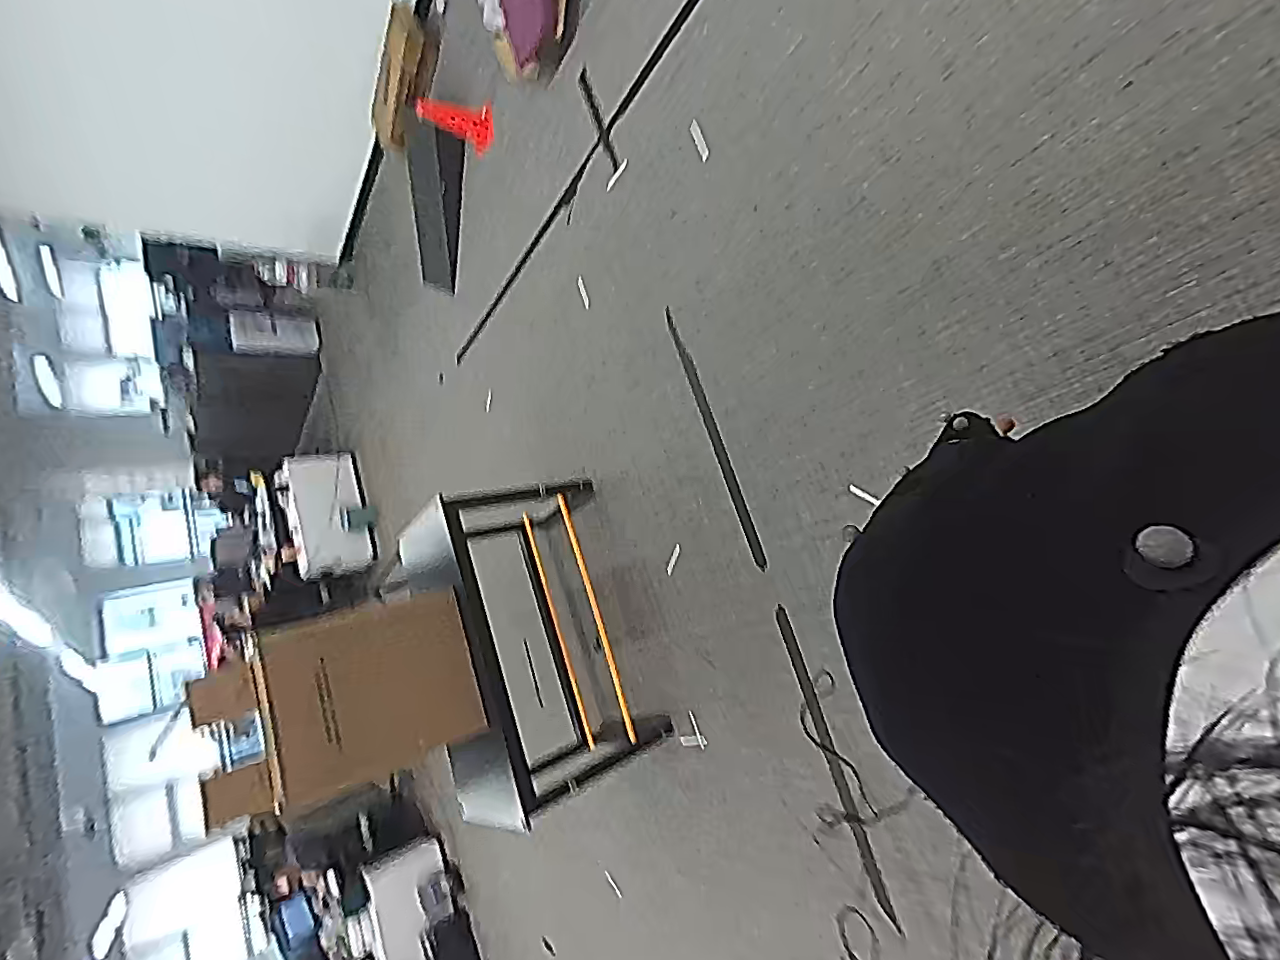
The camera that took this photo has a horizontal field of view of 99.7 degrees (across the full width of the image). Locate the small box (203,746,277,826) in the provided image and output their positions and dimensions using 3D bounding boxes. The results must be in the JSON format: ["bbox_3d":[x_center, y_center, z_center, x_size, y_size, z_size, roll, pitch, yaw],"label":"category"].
[{"bbox_3d":[-1.250,0.952,1.694,0.179,0.176,0.168,-35,69,47],"label":"small box"}]

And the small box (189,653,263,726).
[{"bbox_3d":[-1.324,0.670,1.733,0.179,0.176,0.168,-36,71,46],"label":"small box"}]
